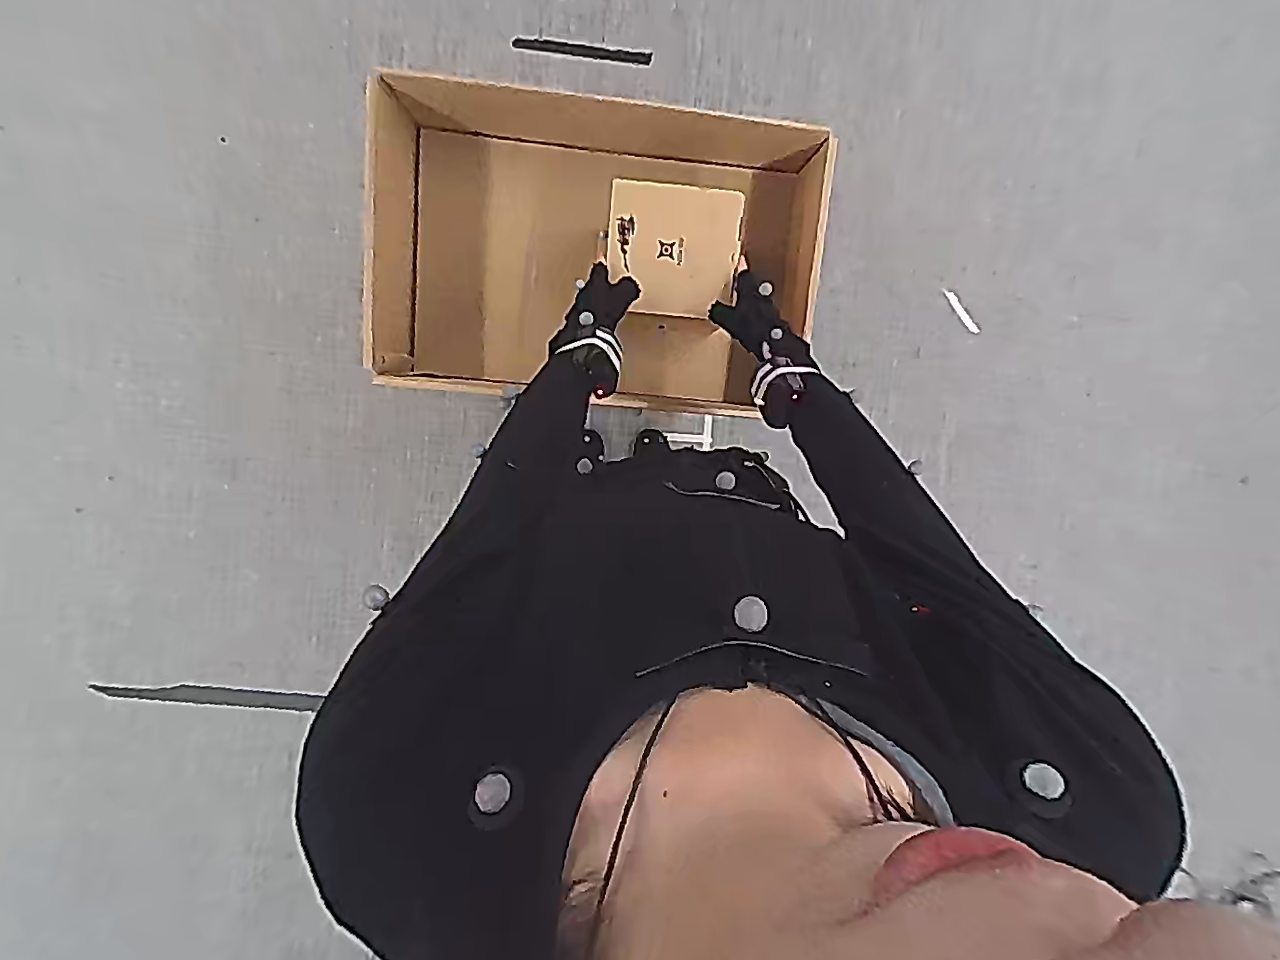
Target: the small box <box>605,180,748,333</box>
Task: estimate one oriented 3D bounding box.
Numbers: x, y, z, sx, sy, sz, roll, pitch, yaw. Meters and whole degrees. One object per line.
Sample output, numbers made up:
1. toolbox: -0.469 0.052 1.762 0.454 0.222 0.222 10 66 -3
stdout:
1. small box: 0.044 -0.312 0.791 0.179 0.176 0.168 5 99 -2
